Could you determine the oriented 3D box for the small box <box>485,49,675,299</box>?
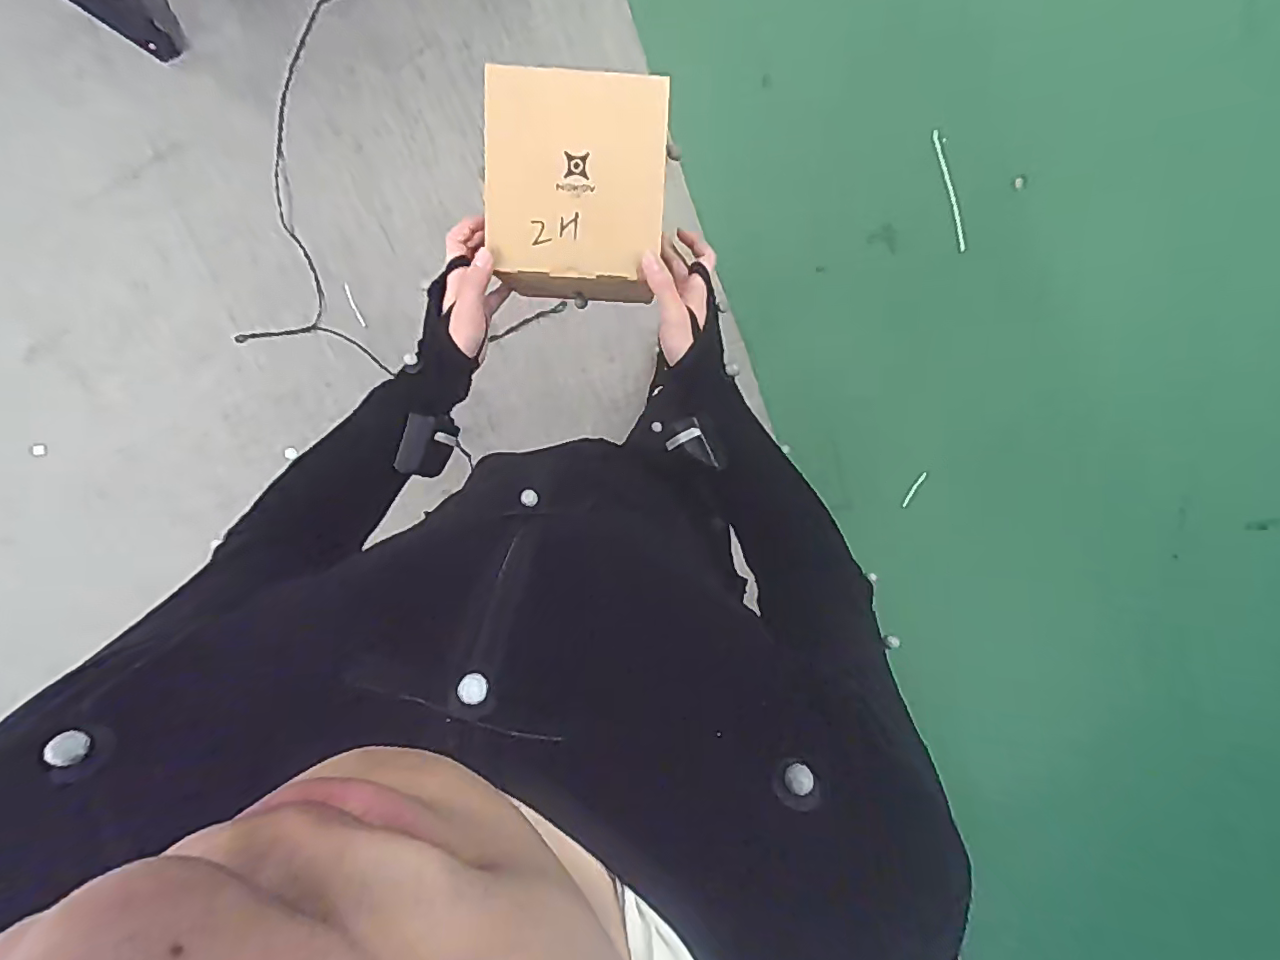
[{"bbox_3d":[-0.059,-0.296,0.563,0.168,0.176,0.179,3,100,-2],"label":"small box"}]
